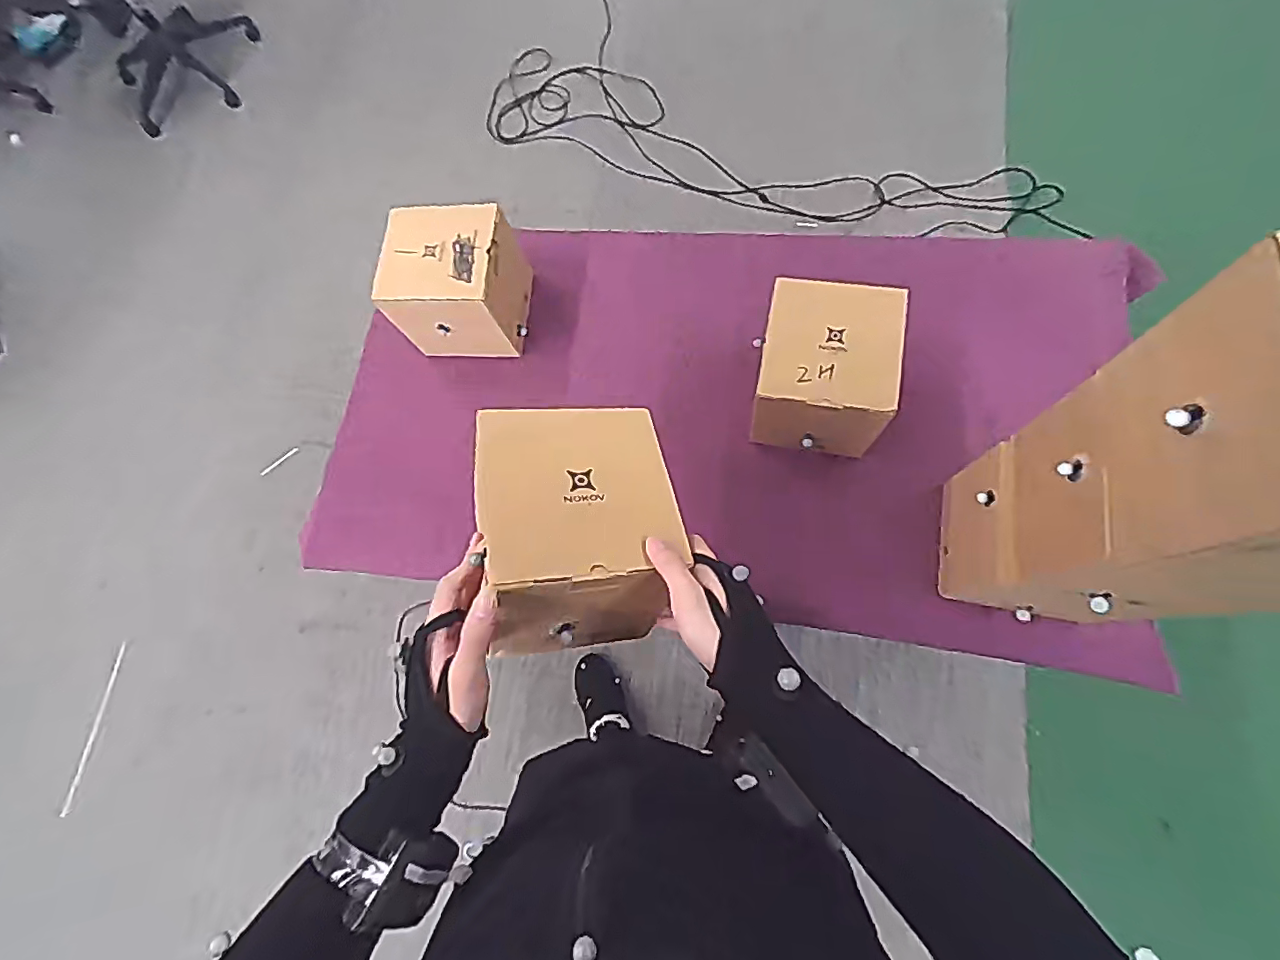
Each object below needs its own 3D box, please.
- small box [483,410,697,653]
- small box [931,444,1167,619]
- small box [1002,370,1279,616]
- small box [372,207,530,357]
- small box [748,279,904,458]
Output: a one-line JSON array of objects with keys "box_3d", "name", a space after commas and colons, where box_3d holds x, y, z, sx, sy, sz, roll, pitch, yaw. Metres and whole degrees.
[{"box_3d": [-0.066, 0.052, 0.538, 0.168, 0.176, 0.179, -2, 56, -19], "name": "small box"}, {"box_3d": [0.486, 0.072, 0.662, 0.179, 0.176, 0.168, 10, 74, 10], "name": "small box"}, {"box_3d": [0.468, 0.022, 0.508, 0.168, 0.176, 0.179, 9, 75, 12], "name": "small box"}, {"box_3d": [-0.290, -0.311, 0.872, 0.179, 0.176, 0.168, 2, 74, 8], "name": "small box"}, {"box_3d": [0.250, -0.149, 0.759, 0.168, 0.176, 0.179, 10, 76, 10], "name": "small box"}]
